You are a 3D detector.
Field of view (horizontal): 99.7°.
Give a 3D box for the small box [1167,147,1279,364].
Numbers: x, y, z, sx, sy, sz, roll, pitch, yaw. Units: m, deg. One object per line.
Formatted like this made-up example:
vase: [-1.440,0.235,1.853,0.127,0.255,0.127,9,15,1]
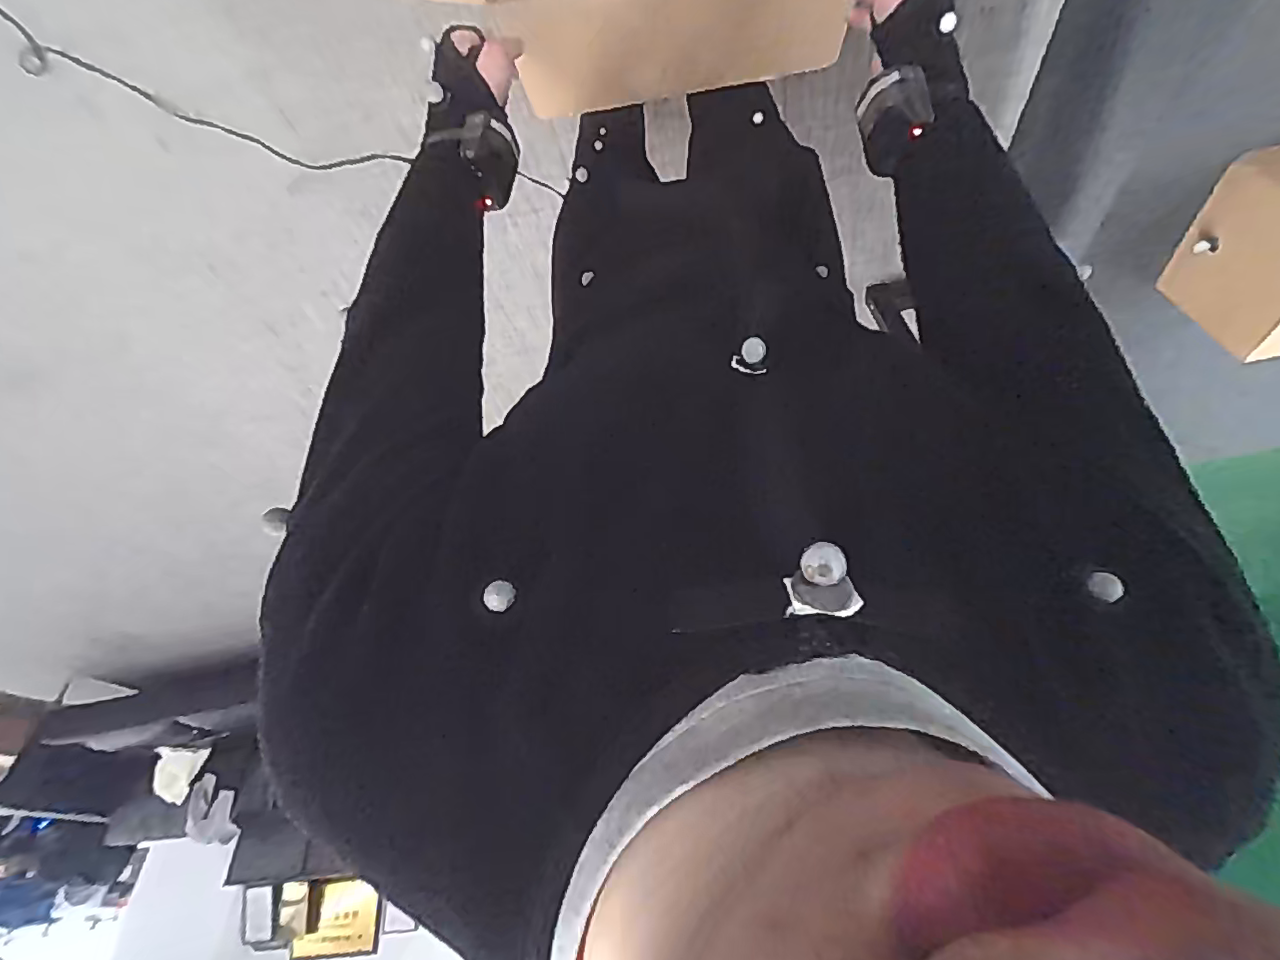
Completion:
small box: [0.782,-0.268,0.627,0.168,0.176,0.179,-11,143,7]
